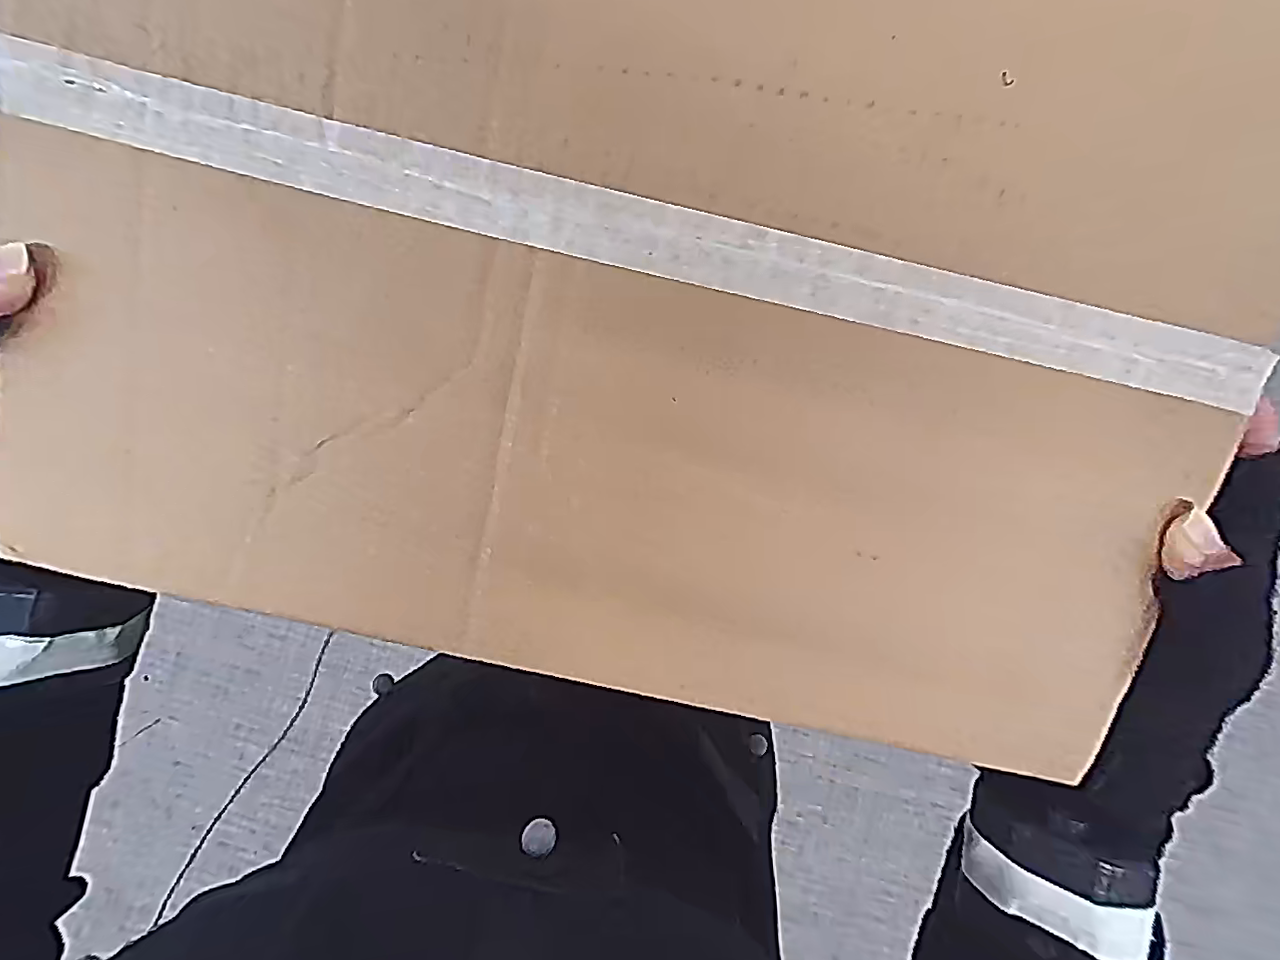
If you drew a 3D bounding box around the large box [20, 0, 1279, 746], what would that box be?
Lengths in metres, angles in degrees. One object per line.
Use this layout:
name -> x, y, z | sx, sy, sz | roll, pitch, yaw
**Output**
large box -> 0.002, -0.105, 0.328 | 0.408, 0.320, 0.320 | 13, 101, -3
